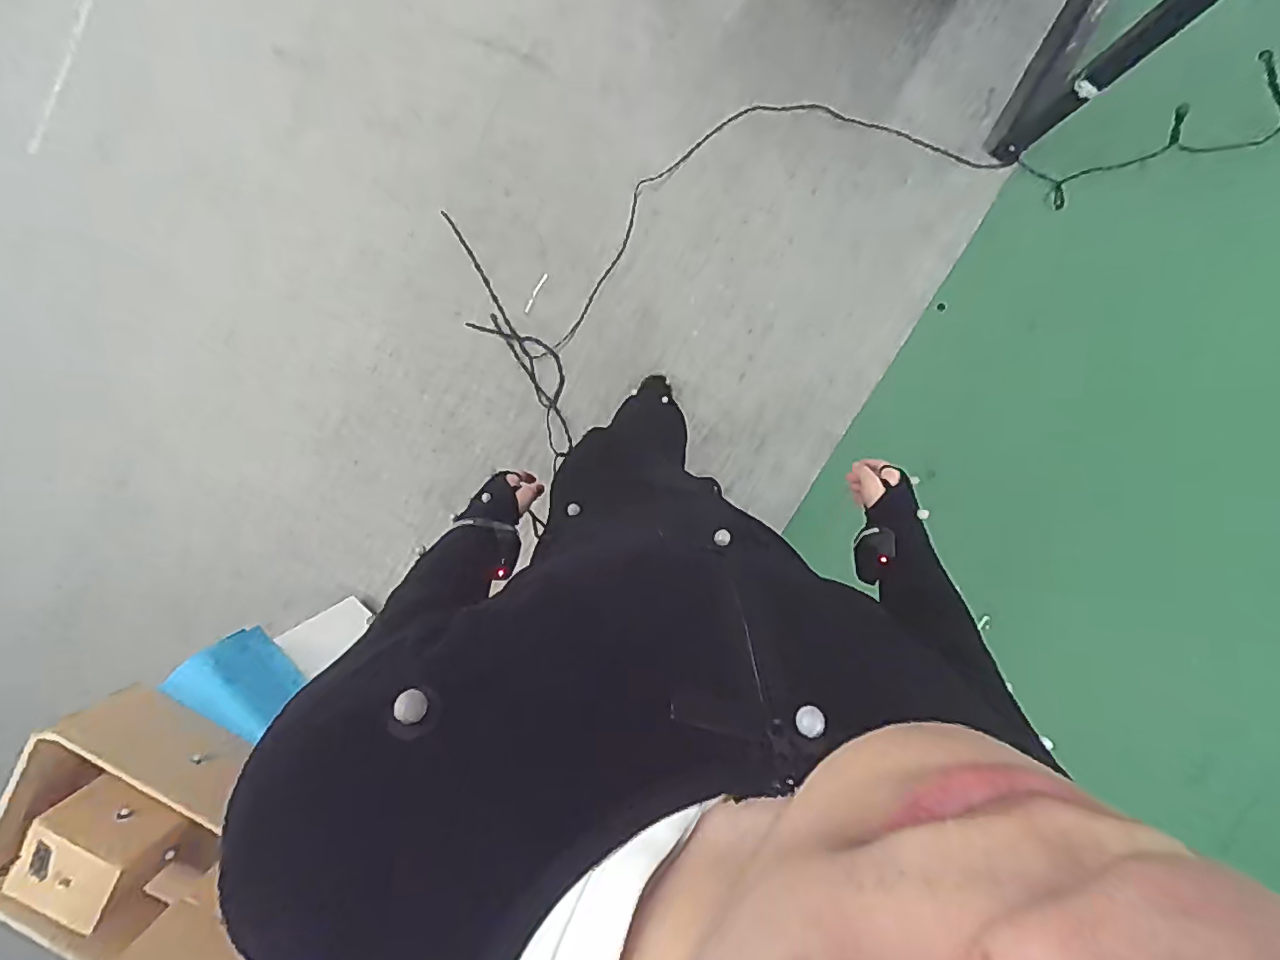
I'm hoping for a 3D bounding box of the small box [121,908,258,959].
[{"bbox_3d":[-0.757,0.835,0.849,0.179,0.176,0.168,30,97,1],"label":"small box"}]
